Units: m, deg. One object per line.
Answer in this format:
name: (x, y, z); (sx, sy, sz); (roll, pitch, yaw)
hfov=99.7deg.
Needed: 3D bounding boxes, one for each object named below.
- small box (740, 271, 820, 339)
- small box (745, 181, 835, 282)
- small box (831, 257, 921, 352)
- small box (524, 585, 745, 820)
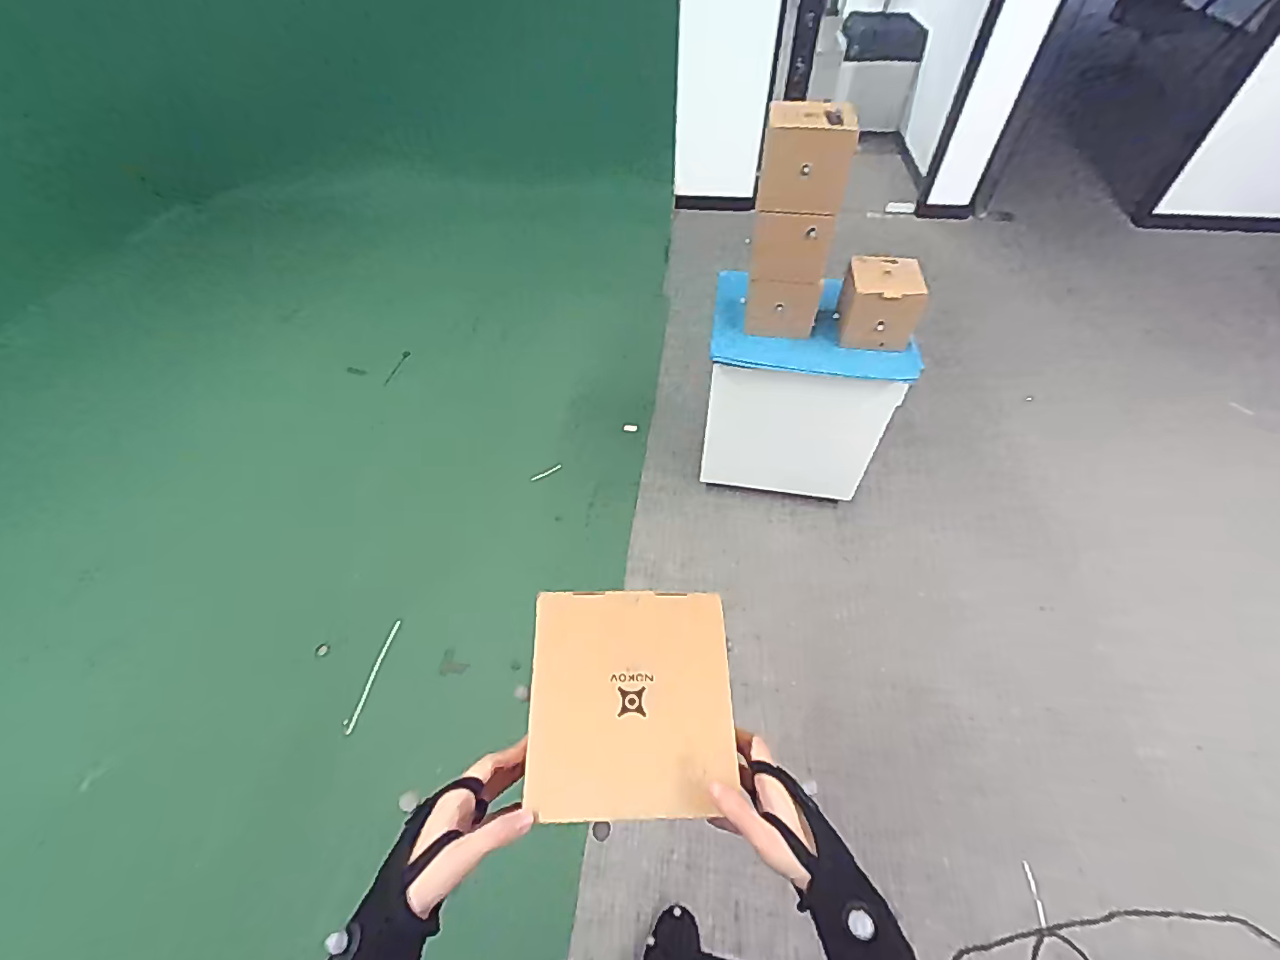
small box: (0.367, -0.495, 1.440); (0.179, 0.176, 0.168); (6, 50, 6)
small box: (0.357, -0.600, 1.314); (0.179, 0.176, 0.168); (6, 50, 5)
small box: (0.605, -0.454, 1.405); (0.168, 0.176, 0.179); (6, 51, 6)
small box: (-0.009, 0.209, 0.504); (0.168, 0.176, 0.179); (1, 59, -5)
